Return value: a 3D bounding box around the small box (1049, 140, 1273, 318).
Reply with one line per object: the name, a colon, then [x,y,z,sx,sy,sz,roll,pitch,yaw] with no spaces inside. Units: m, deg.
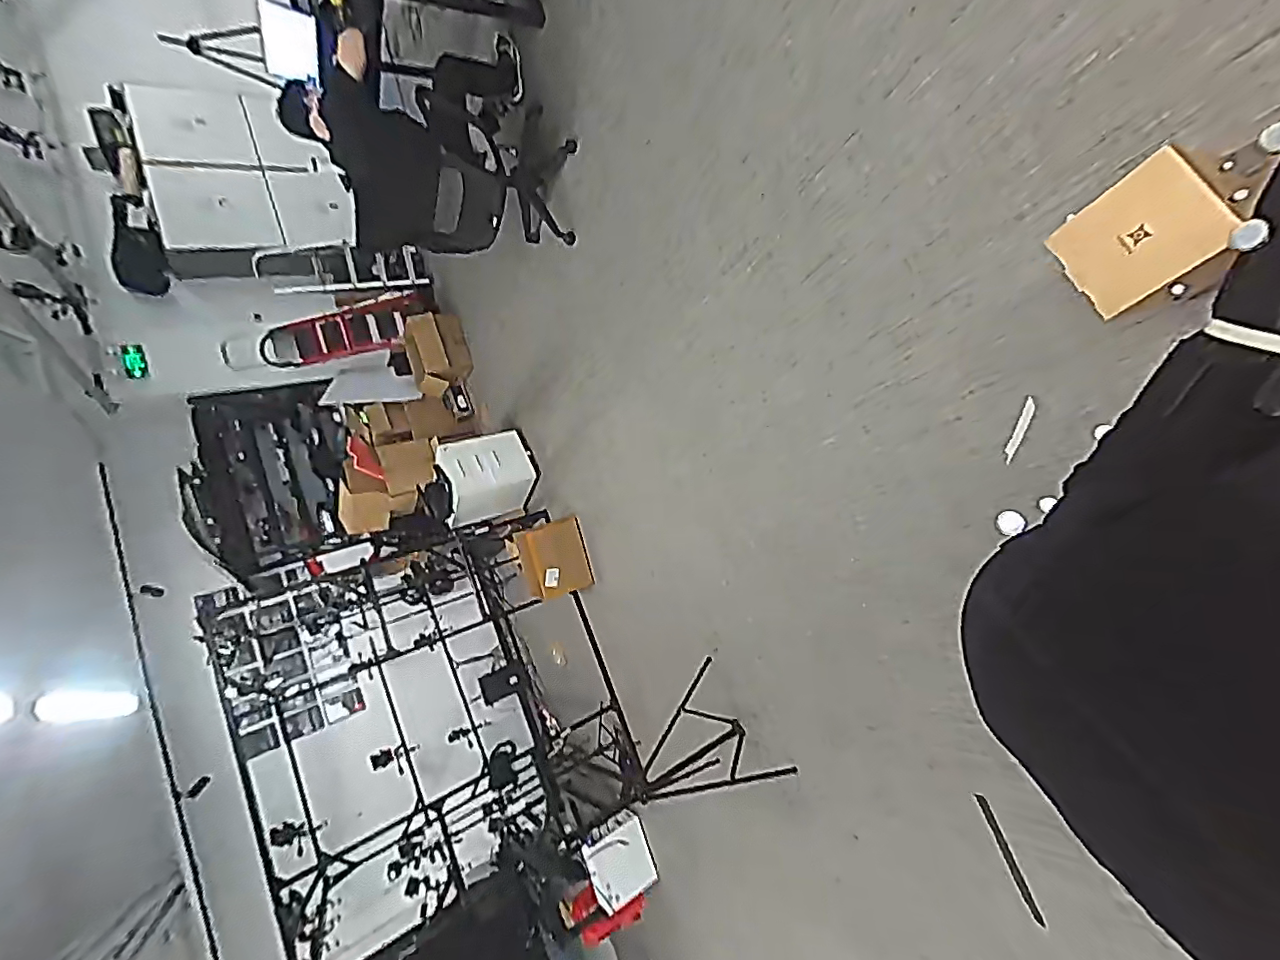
small box: [0.784,-0.373,0.815,0.168,0.176,0.179,64,149,15]
